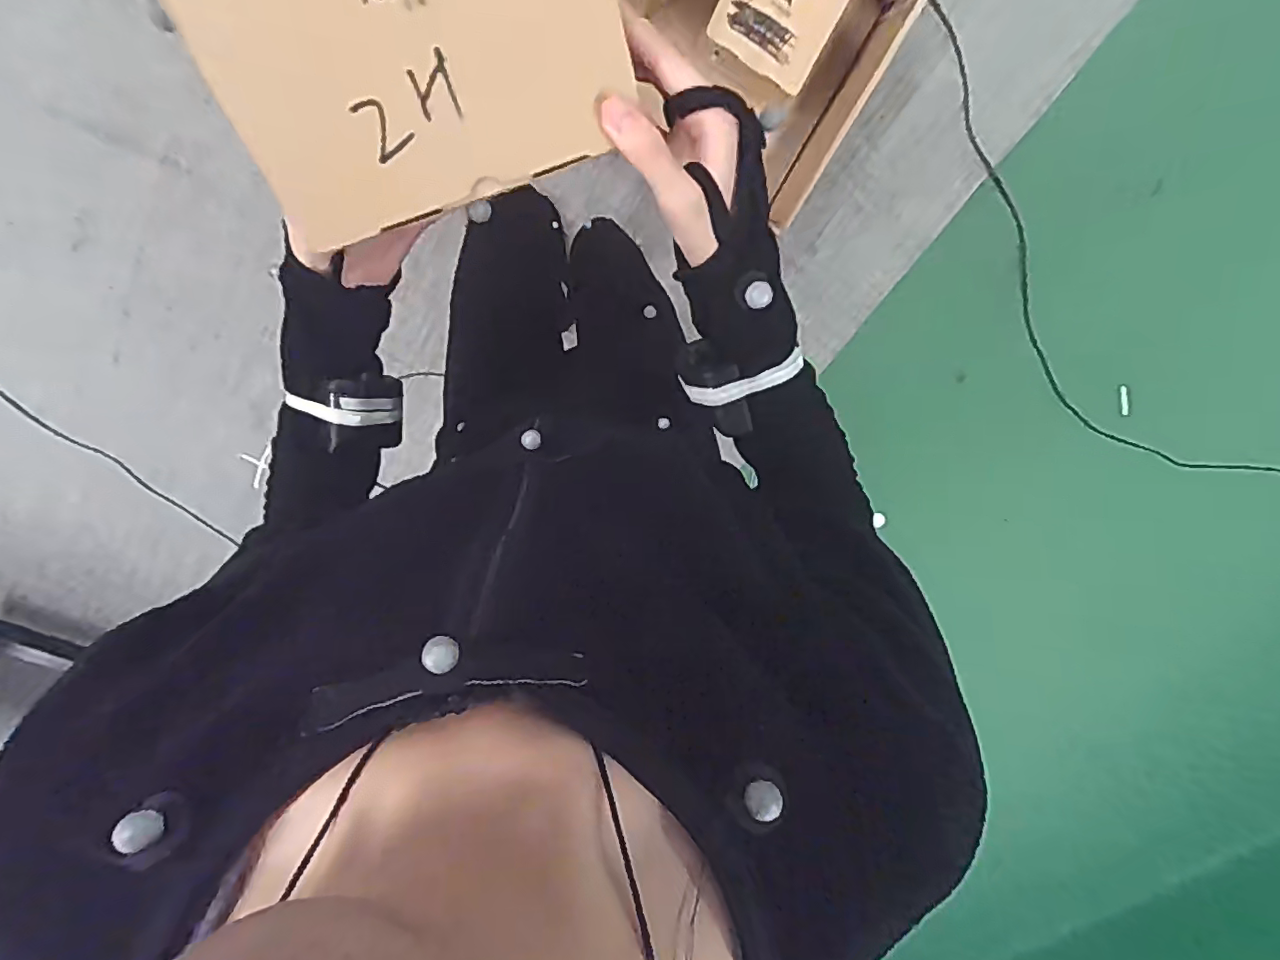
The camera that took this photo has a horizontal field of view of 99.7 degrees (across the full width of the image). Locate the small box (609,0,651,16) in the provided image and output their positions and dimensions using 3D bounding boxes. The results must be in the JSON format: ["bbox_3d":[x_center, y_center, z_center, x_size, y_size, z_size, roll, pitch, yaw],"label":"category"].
[{"bbox_3d":[-0.033,-0.814,0.773,0.179,0.176,0.168,24,118,-17],"label":"small box"}]

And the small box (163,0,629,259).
[{"bbox_3d":[-0.126,-0.238,0.284,0.168,0.176,0.179,-24,124,-6],"label":"small box"}]
